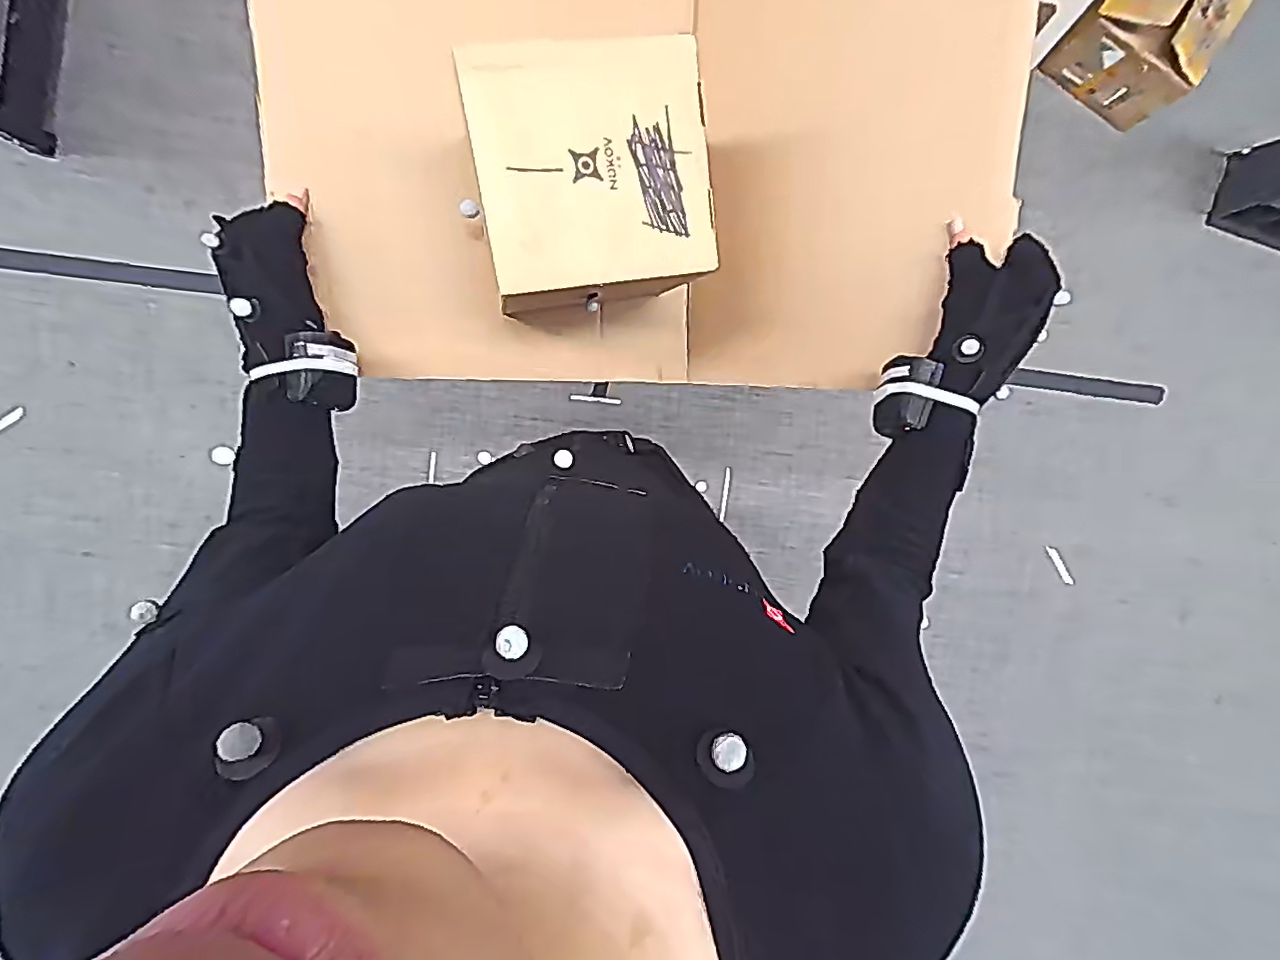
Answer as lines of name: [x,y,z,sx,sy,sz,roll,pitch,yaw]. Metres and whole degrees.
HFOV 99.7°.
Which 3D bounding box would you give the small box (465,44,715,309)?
small box: [-0.049,-0.251,0.484,0.179,0.176,0.168,-11,104,-11]
